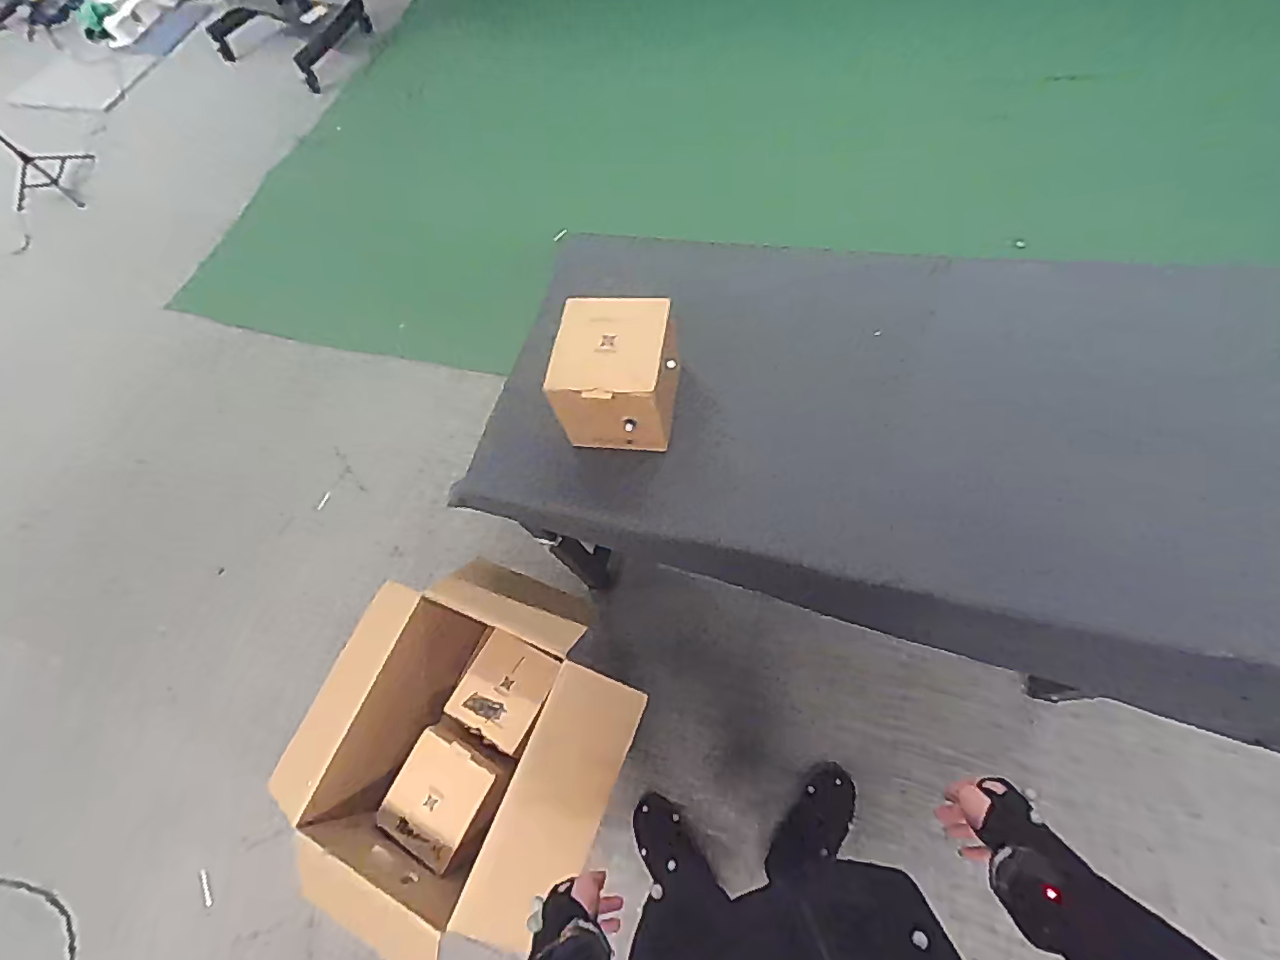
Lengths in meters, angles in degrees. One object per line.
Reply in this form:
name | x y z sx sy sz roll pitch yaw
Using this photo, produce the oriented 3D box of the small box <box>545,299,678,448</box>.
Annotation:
small box | -0.034 -0.165 0.869 0.168 0.176 0.179 4 64 11
